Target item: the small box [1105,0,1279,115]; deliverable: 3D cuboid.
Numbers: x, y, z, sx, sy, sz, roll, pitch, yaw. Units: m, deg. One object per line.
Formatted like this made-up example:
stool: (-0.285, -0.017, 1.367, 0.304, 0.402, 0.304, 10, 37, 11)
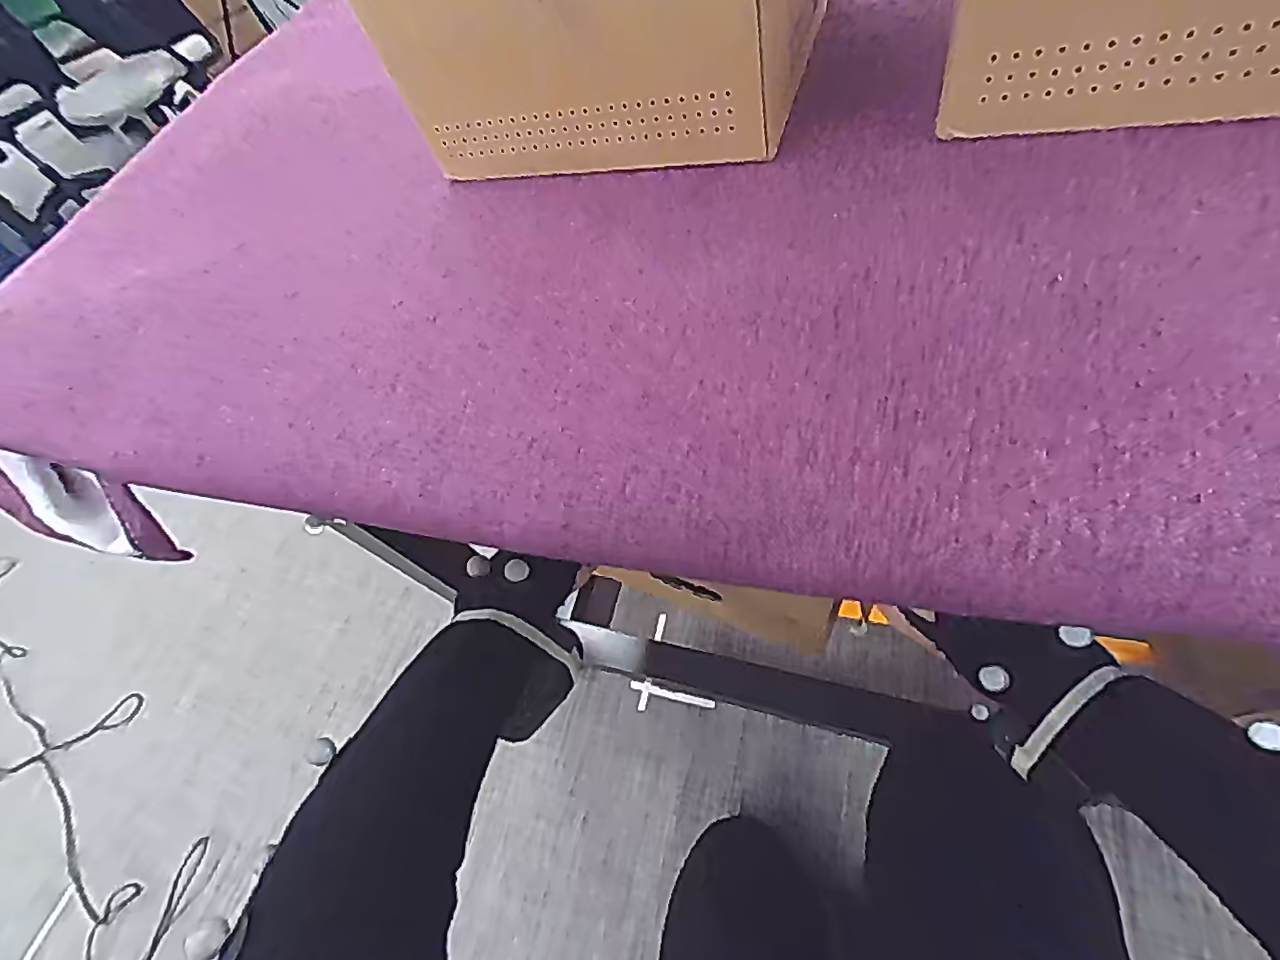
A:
small box: (0.244, -0.232, 0.116, 0.179, 0.176, 0.168, -12, 96, 15)
